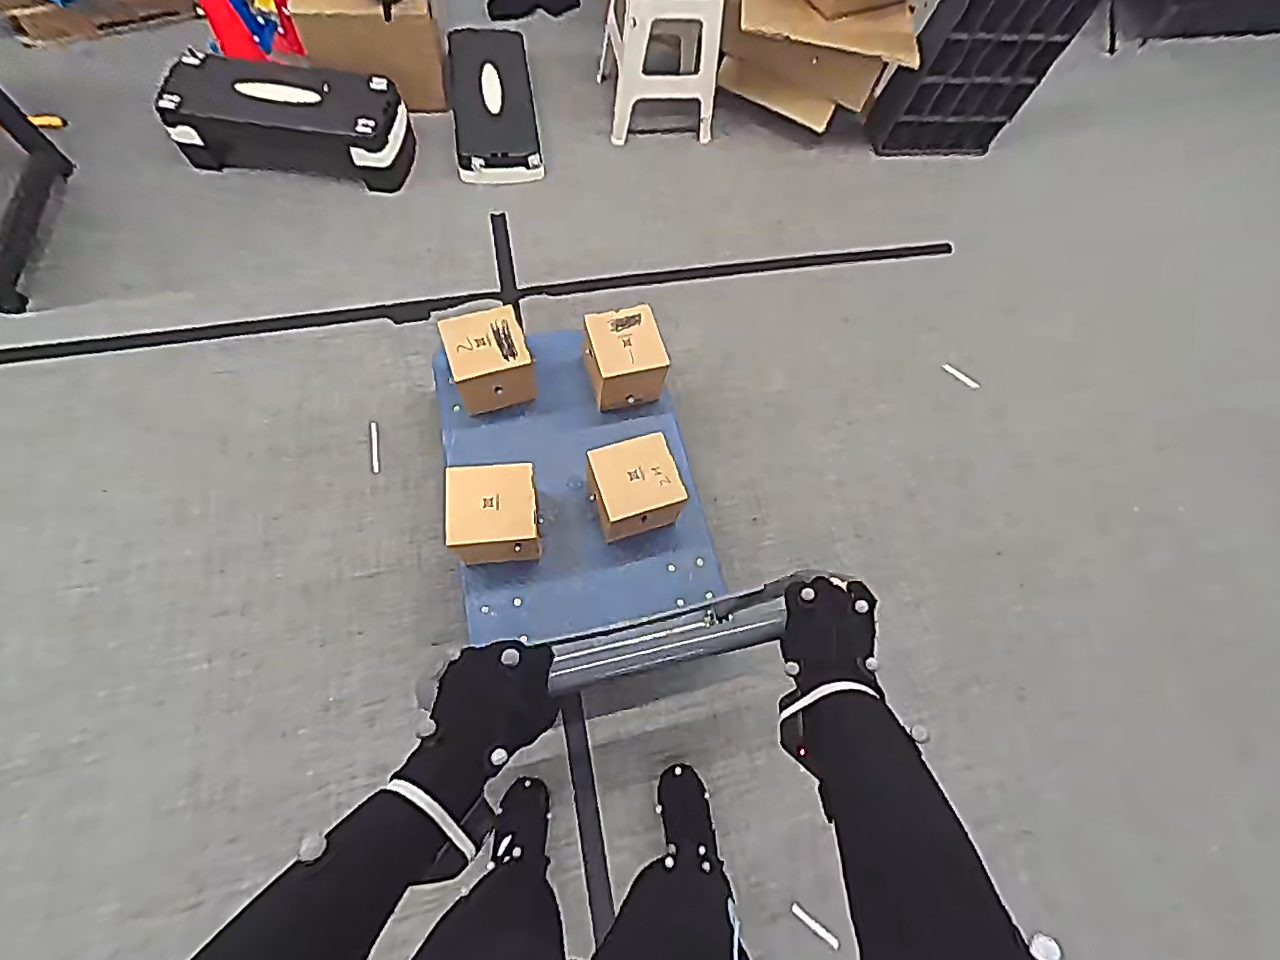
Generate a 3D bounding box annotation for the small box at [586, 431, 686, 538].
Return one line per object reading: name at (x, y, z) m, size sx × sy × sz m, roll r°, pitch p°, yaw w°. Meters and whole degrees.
small box at (-0.015, 0.017, 1.209) m, size 0.179 × 0.176 × 0.168 m, roll -16°, pitch 72°, yaw -12°

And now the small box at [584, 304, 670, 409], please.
small box at (-0.040, -0.300, 1.329) m, size 0.168 × 0.176 × 0.179 m, roll -13°, pitch 72°, yaw -11°

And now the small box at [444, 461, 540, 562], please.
small box at (-0.310, 0.072, 1.153) m, size 0.179 × 0.176 × 0.168 m, roll -4°, pitch 69°, yaw -10°
